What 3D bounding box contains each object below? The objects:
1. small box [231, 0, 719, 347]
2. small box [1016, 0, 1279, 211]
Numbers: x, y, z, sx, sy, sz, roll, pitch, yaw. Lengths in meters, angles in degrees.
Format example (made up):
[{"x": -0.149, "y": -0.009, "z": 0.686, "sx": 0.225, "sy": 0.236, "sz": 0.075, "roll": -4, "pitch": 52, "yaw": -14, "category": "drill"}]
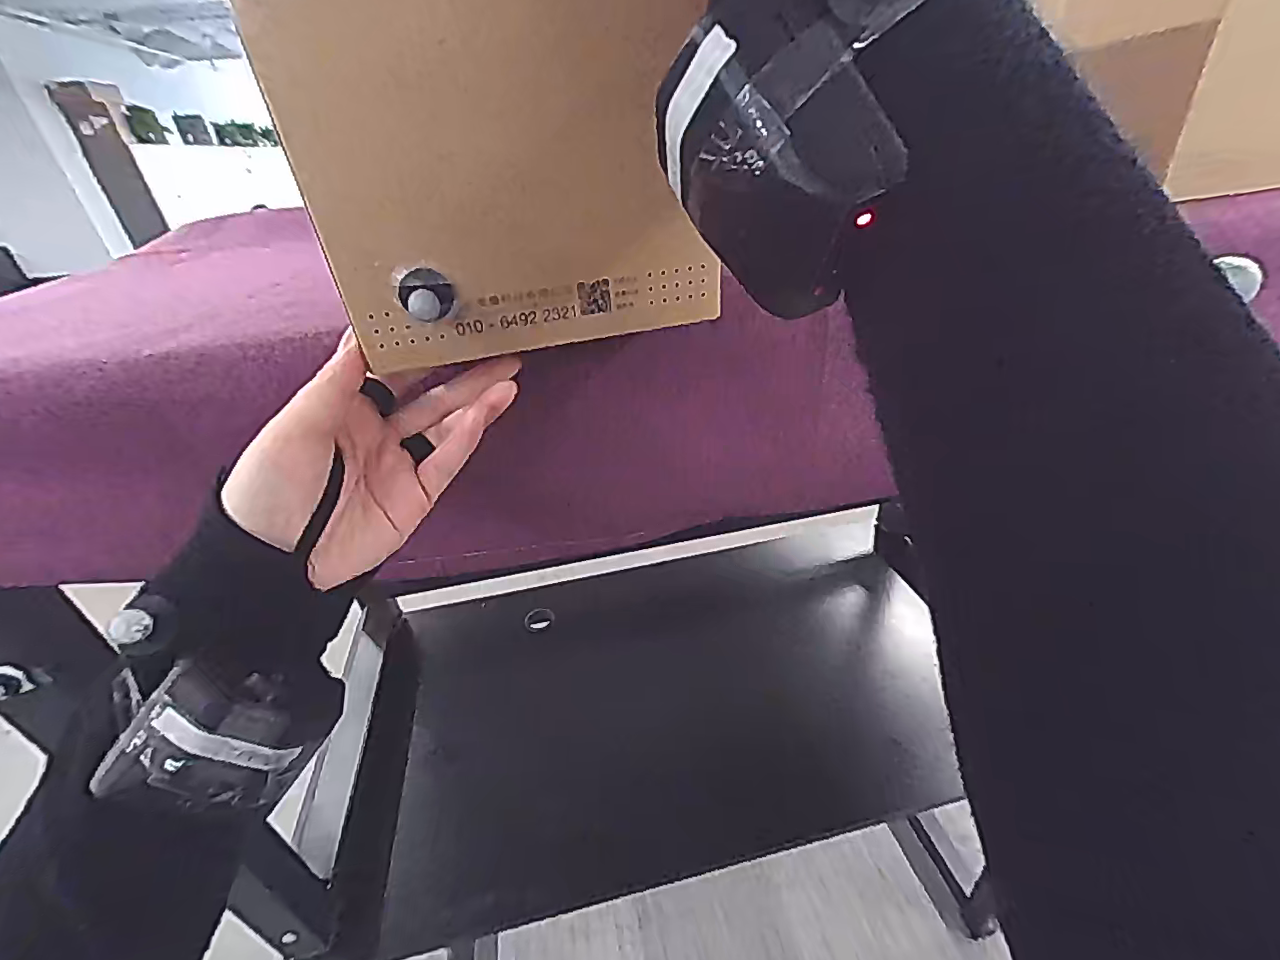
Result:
[{"x": -0.064, "y": -0.174, "z": 0.267, "sx": 0.168, "sy": 0.176, "sz": 0.179, "roll": -12, "pitch": 35, "yaw": -10, "category": "small box"}, {"x": 0.445, "y": -0.325, "z": 0.434, "sx": 0.179, "sy": 0.176, "sz": 0.168, "roll": -10, "pitch": 31, "yaw": -5, "category": "small box"}]
